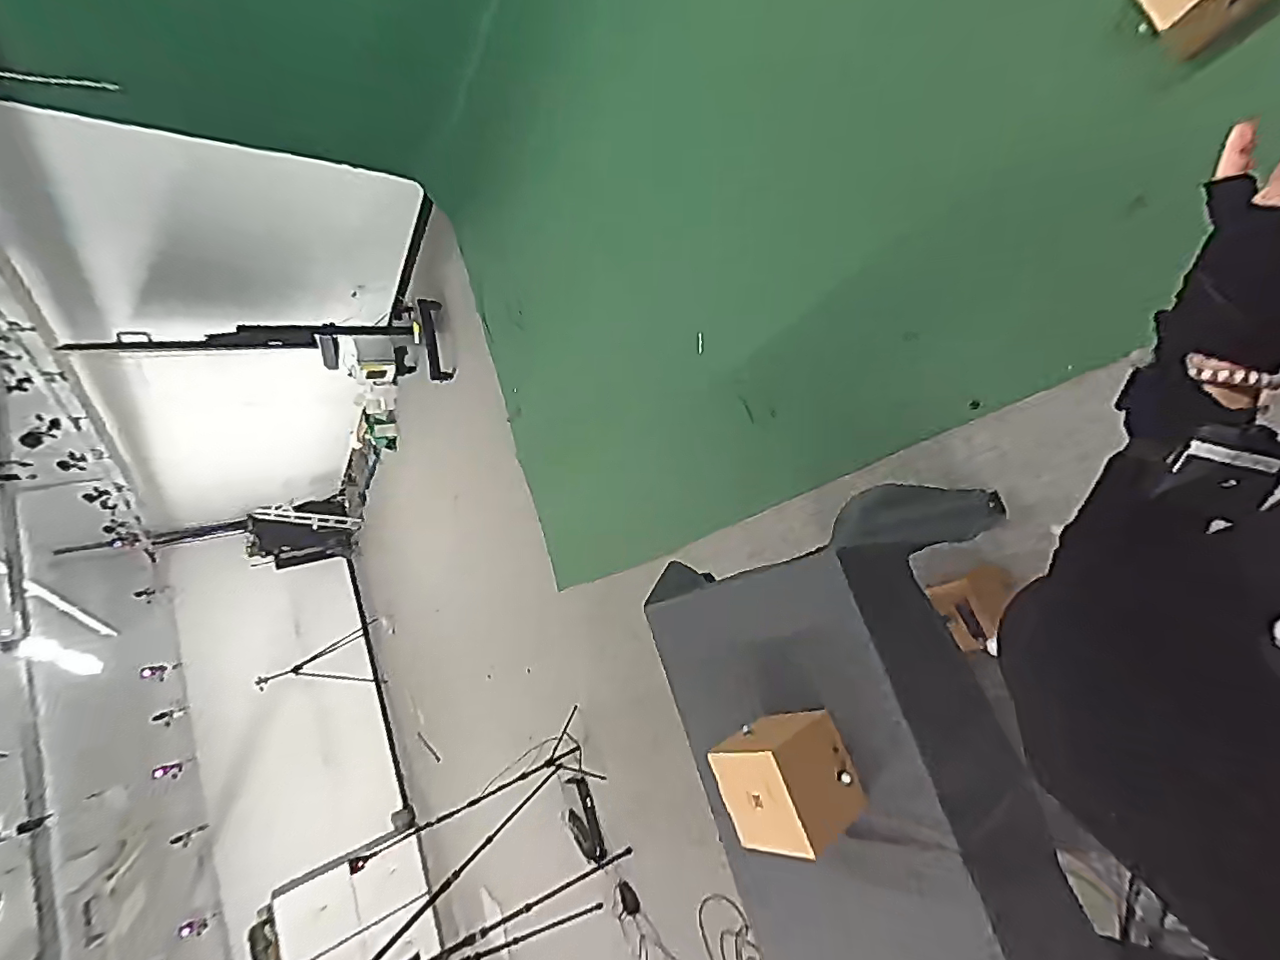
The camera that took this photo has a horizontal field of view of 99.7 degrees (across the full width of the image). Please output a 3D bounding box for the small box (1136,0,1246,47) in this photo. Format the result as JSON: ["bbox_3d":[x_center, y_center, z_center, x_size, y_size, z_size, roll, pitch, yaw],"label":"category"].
[{"bbox_3d":[0.955,-0.886,0.918,0.168,0.176,0.179,-35,73,51],"label":"small box"}]

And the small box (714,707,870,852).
[{"bbox_3d":[0.272,0.526,0.974,0.179,0.176,0.168,-38,70,50],"label":"small box"}]
